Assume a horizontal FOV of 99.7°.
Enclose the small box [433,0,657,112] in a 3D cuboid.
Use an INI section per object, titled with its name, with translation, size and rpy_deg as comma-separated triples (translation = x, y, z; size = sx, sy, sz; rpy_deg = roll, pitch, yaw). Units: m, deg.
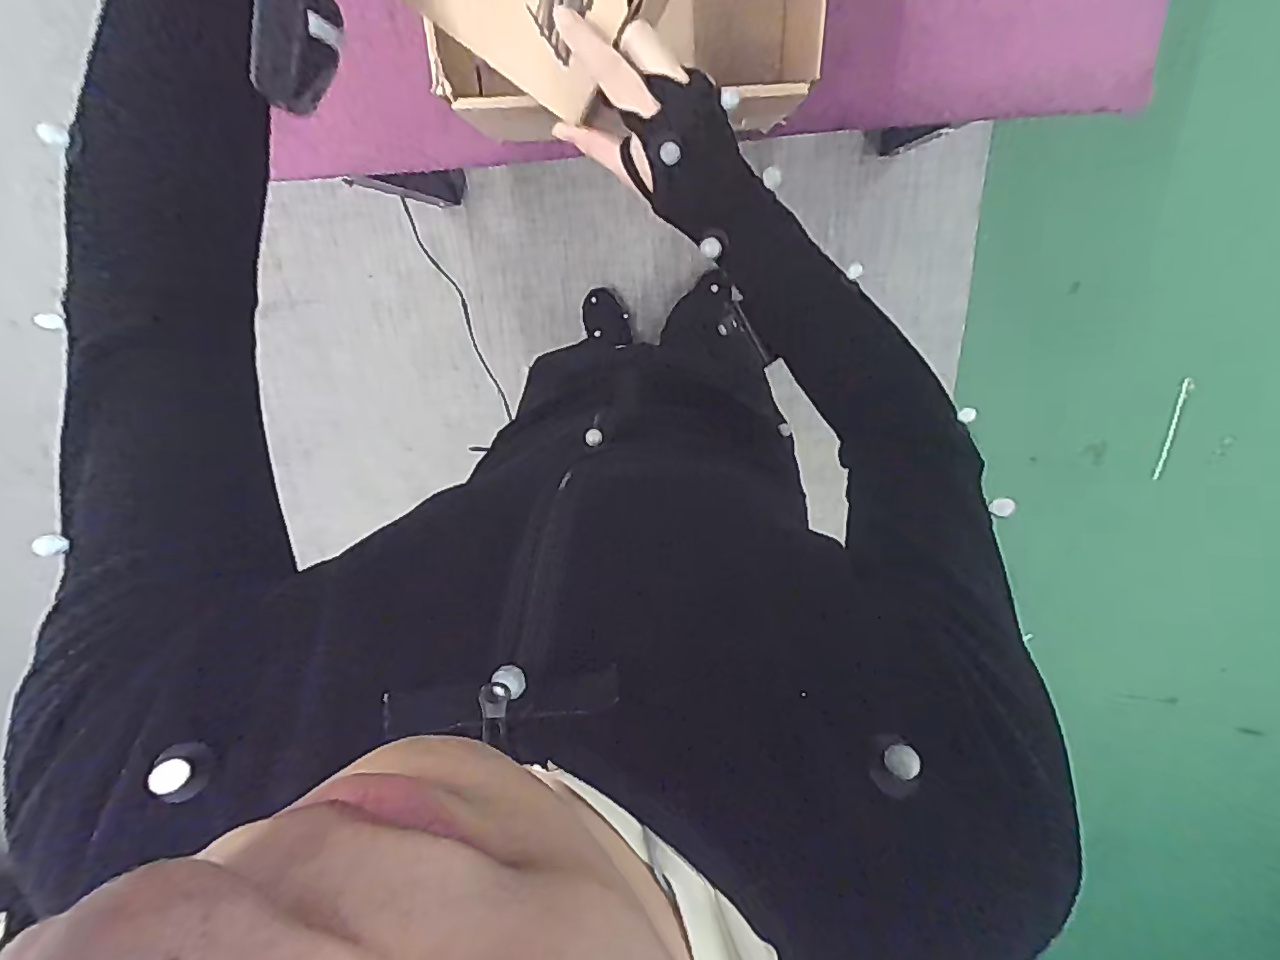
[small box]
translation = -0.063, -0.397, 0.372
size = 0.179, 0.176, 0.168
rpy_deg = 32, 123, -16
